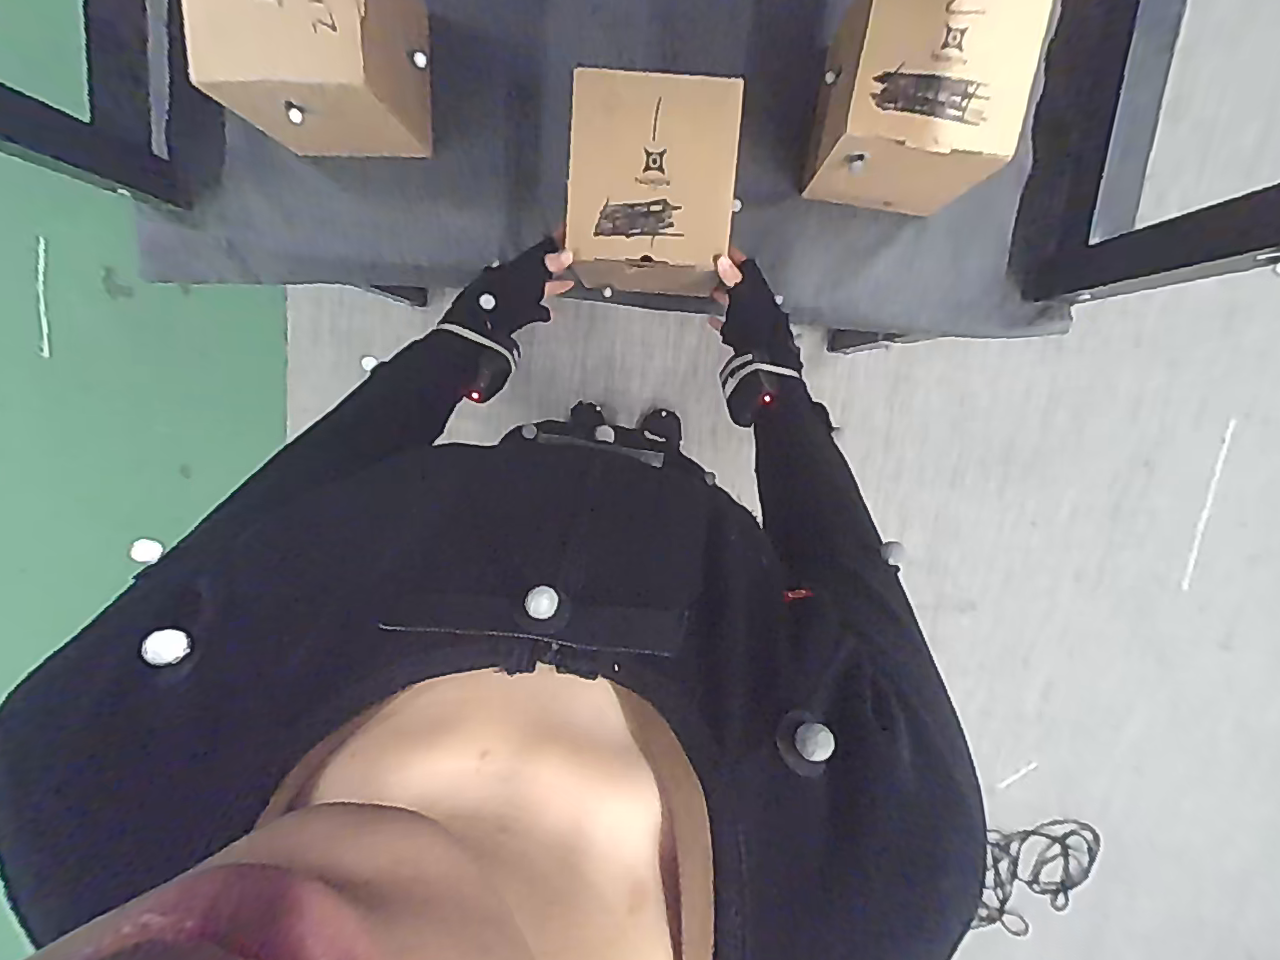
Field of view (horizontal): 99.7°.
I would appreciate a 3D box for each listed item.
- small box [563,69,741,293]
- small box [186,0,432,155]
[{"bbox_3d":[0.012,-0.318,0.614,0.168,0.176,0.179,5,99,0],"label":"small box"},{"bbox_3d":[-0.349,-0.481,0.595,0.179,0.176,0.168,2,100,0],"label":"small box"}]
